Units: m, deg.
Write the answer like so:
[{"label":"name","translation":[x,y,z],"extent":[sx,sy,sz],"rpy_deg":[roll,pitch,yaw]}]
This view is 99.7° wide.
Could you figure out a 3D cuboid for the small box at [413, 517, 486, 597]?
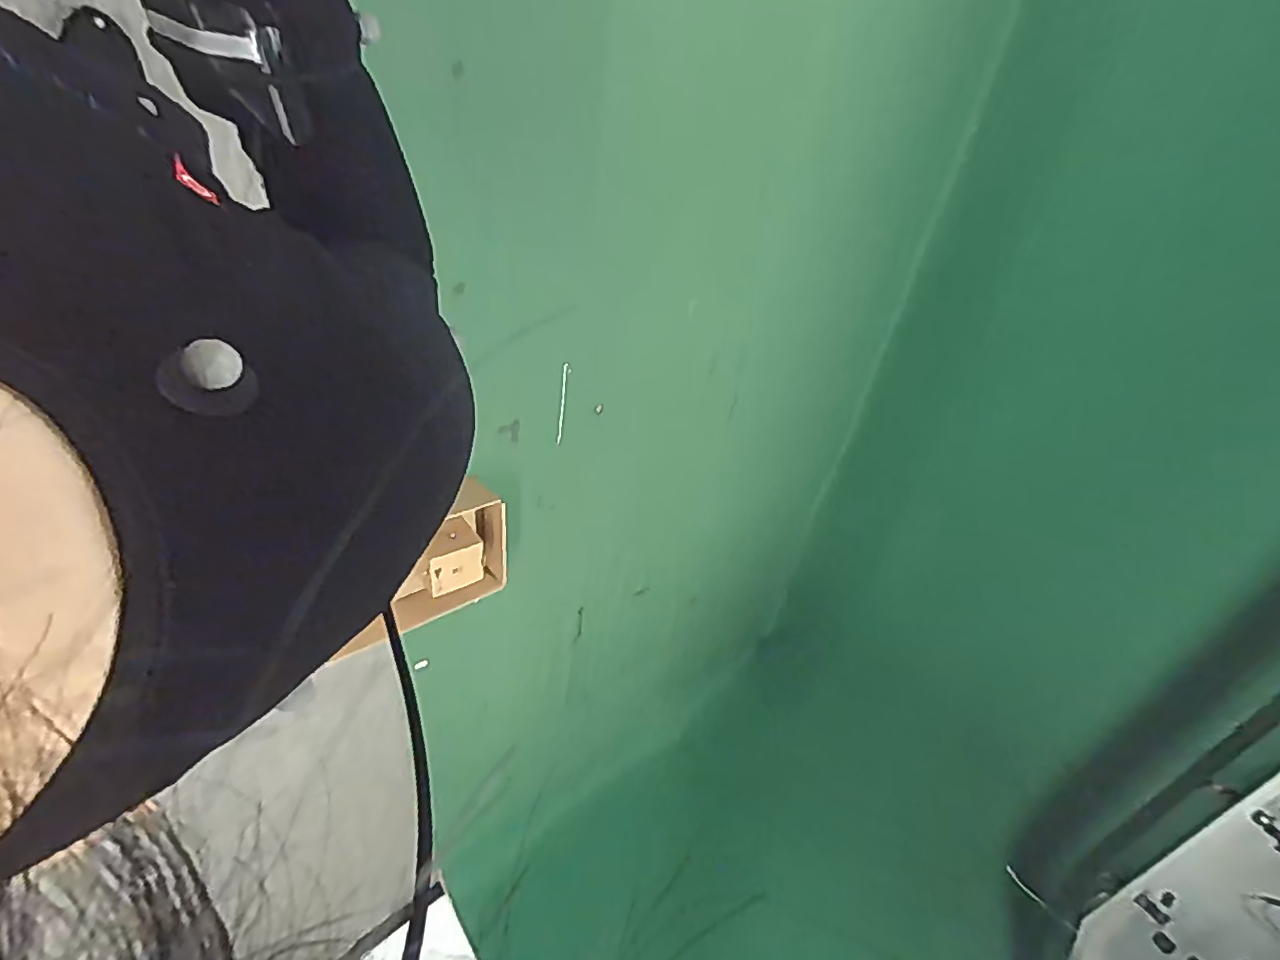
[{"label":"small box","translation":[-0.623,0.245,1.774],"extent":[0.179,0.176,0.168],"rpy_deg":[-19,132,-37]}]

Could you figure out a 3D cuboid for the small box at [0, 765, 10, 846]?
[{"label":"small box","translation":[-1.386,0.649,1.056],"extent":[0.168,0.176,0.179],"rpy_deg":[-22,133,-39]}]
